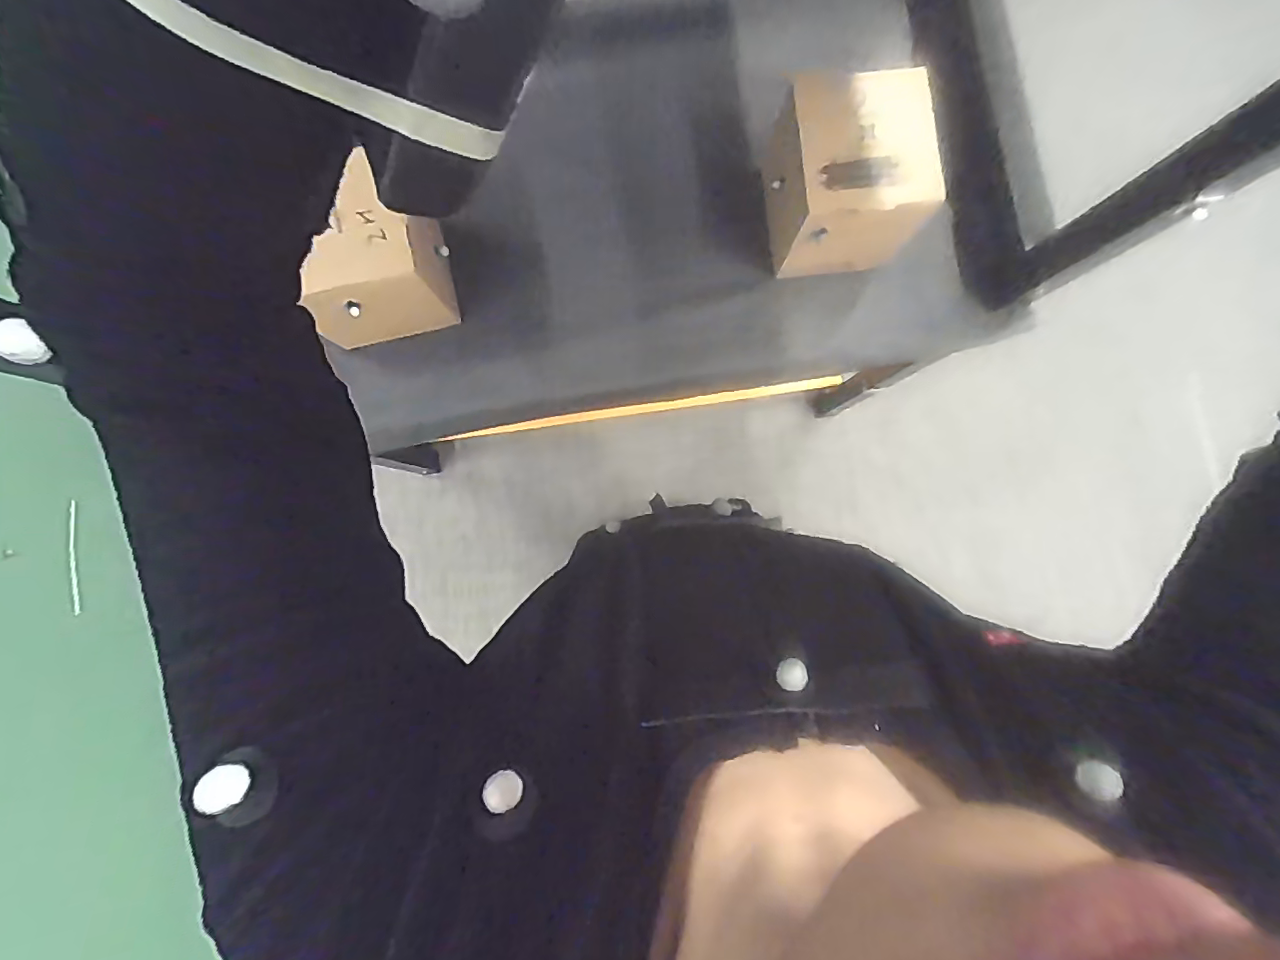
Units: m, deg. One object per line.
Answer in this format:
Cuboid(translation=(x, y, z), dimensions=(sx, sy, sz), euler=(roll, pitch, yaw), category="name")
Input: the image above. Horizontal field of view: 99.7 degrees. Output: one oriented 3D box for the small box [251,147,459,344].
Cuboid(translation=(-0.365, -0.296, 0.720), dimensions=(0.179, 0.176, 0.168), euler=(-13, 86, -2), category="small box")
